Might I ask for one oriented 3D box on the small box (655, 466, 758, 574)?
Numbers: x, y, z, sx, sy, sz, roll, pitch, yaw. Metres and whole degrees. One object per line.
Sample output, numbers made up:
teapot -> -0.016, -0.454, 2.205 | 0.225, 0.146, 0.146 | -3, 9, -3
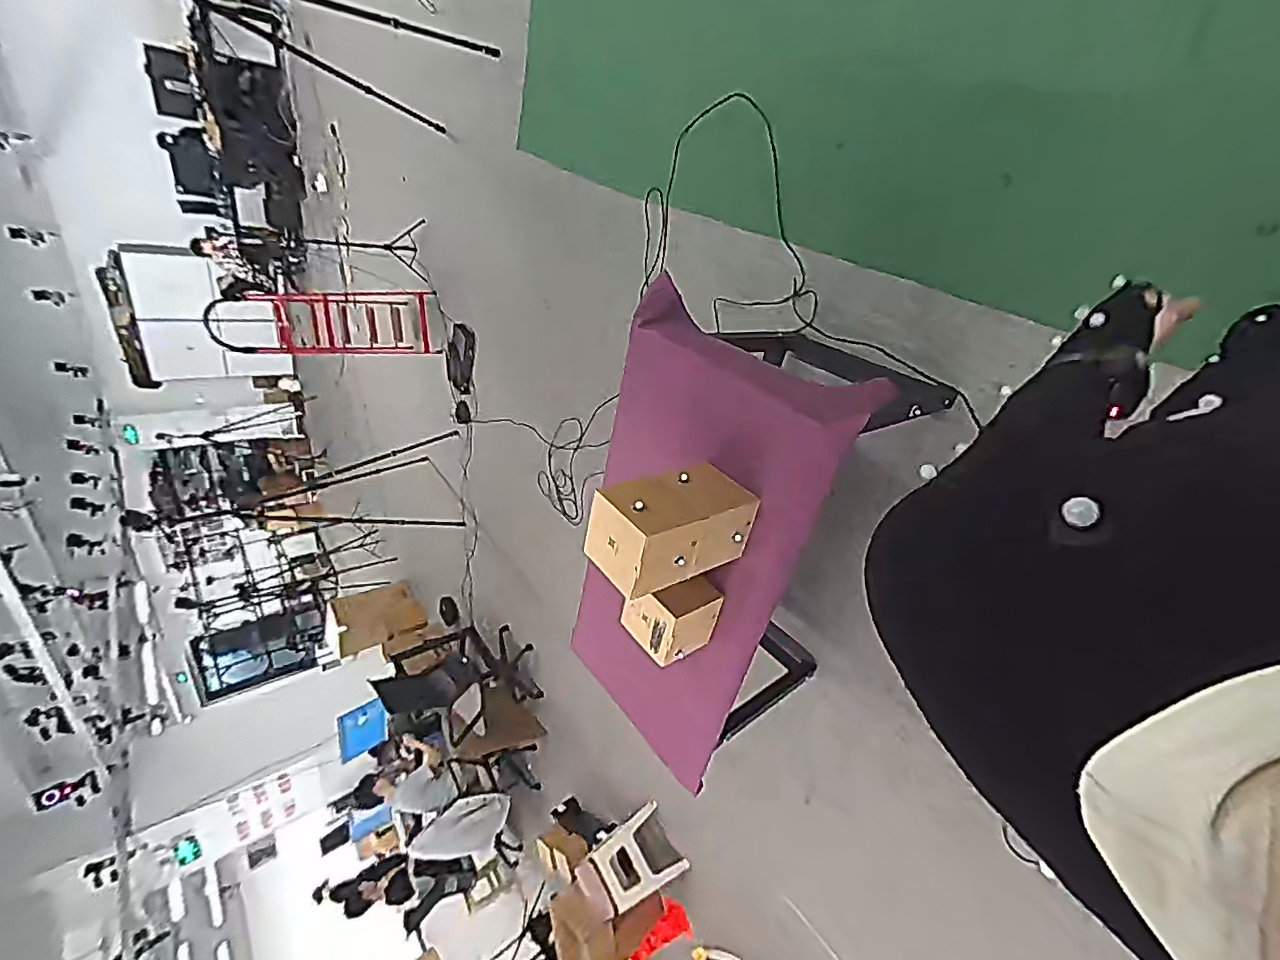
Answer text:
small box -> 0.134, 0.080, 1.229 | 0.179, 0.176, 0.168 | 39, 129, 37

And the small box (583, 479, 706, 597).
small box -> 0.008, 0.110, 1.131 | 0.179, 0.176, 0.168 | 39, 128, 37
